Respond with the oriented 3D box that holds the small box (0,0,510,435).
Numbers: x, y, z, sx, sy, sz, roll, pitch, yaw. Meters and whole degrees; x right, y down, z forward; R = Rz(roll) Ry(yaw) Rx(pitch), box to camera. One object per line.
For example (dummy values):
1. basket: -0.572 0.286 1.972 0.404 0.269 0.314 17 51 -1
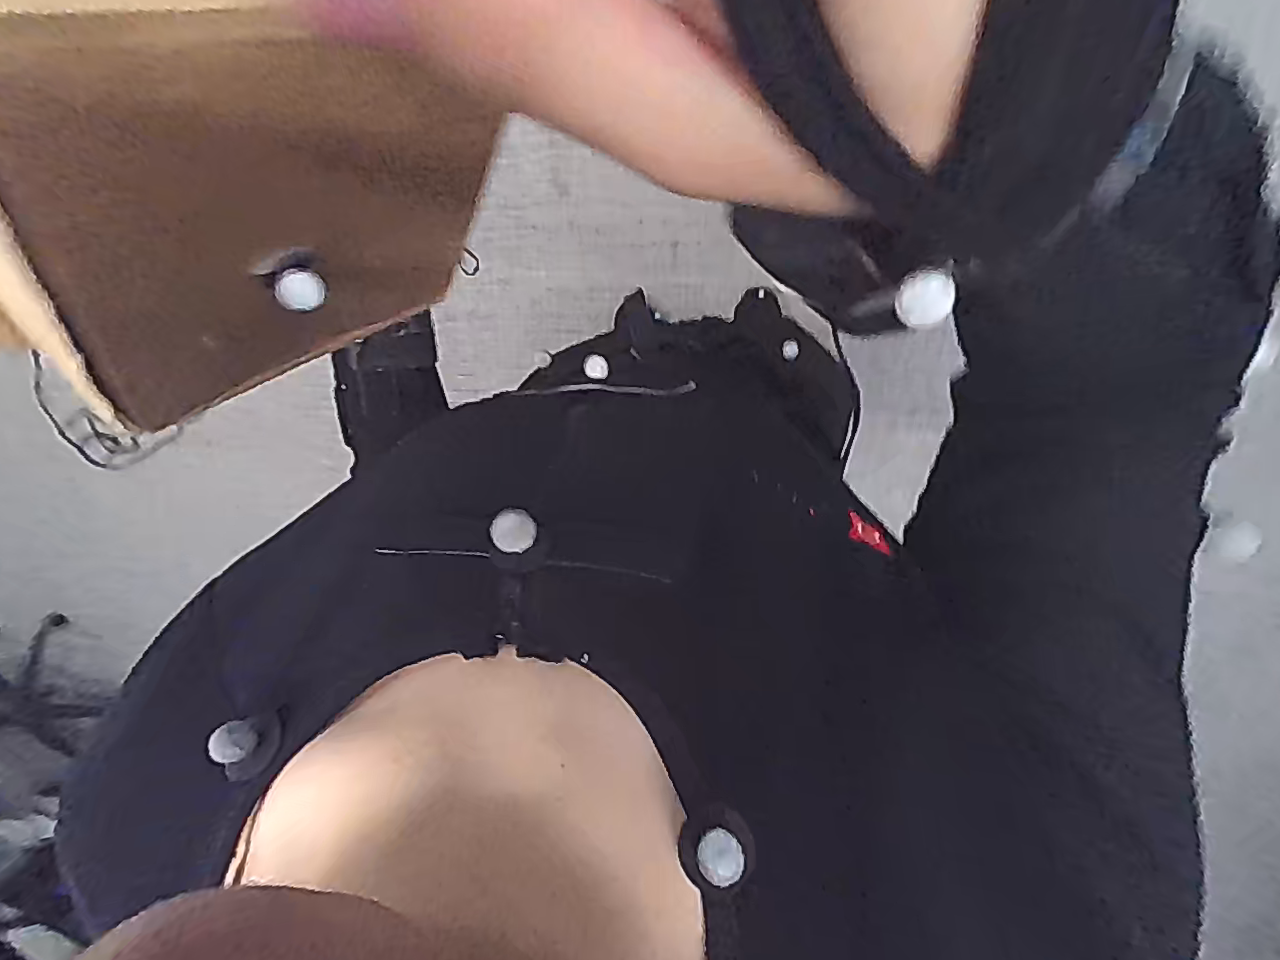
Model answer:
1. small box: -0.179 -0.153 0.210 0.168 0.176 0.179 48 142 -5
